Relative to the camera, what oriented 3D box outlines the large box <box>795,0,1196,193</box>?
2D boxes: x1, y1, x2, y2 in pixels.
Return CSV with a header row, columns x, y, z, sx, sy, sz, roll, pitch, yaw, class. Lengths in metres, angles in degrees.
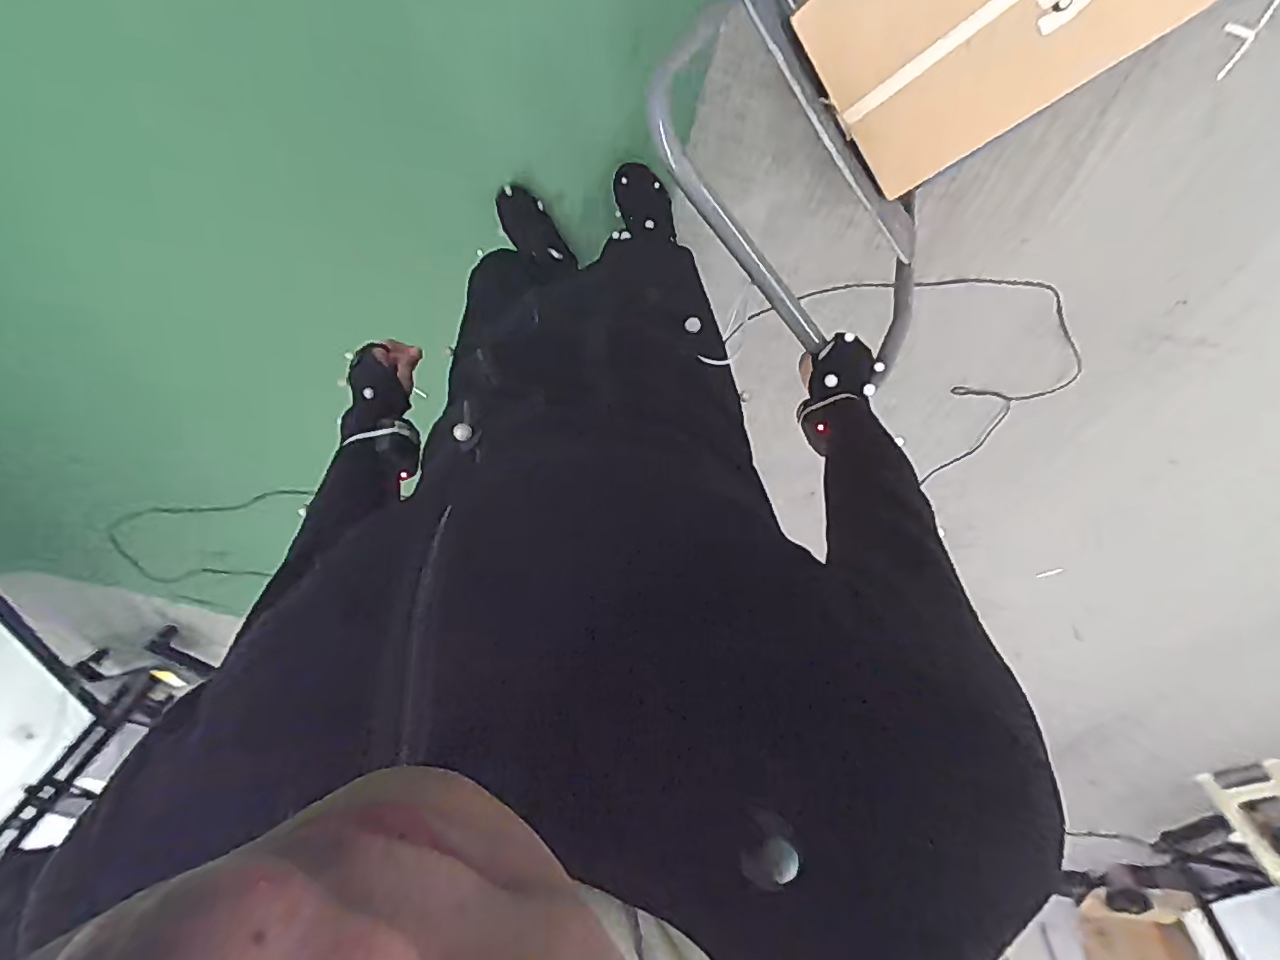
x,y,z,sx,sy,sz,roll,pitch,yaw,class
0.491,-0.728,0.787,0.408,0.320,0.320,-22,126,40,large box
